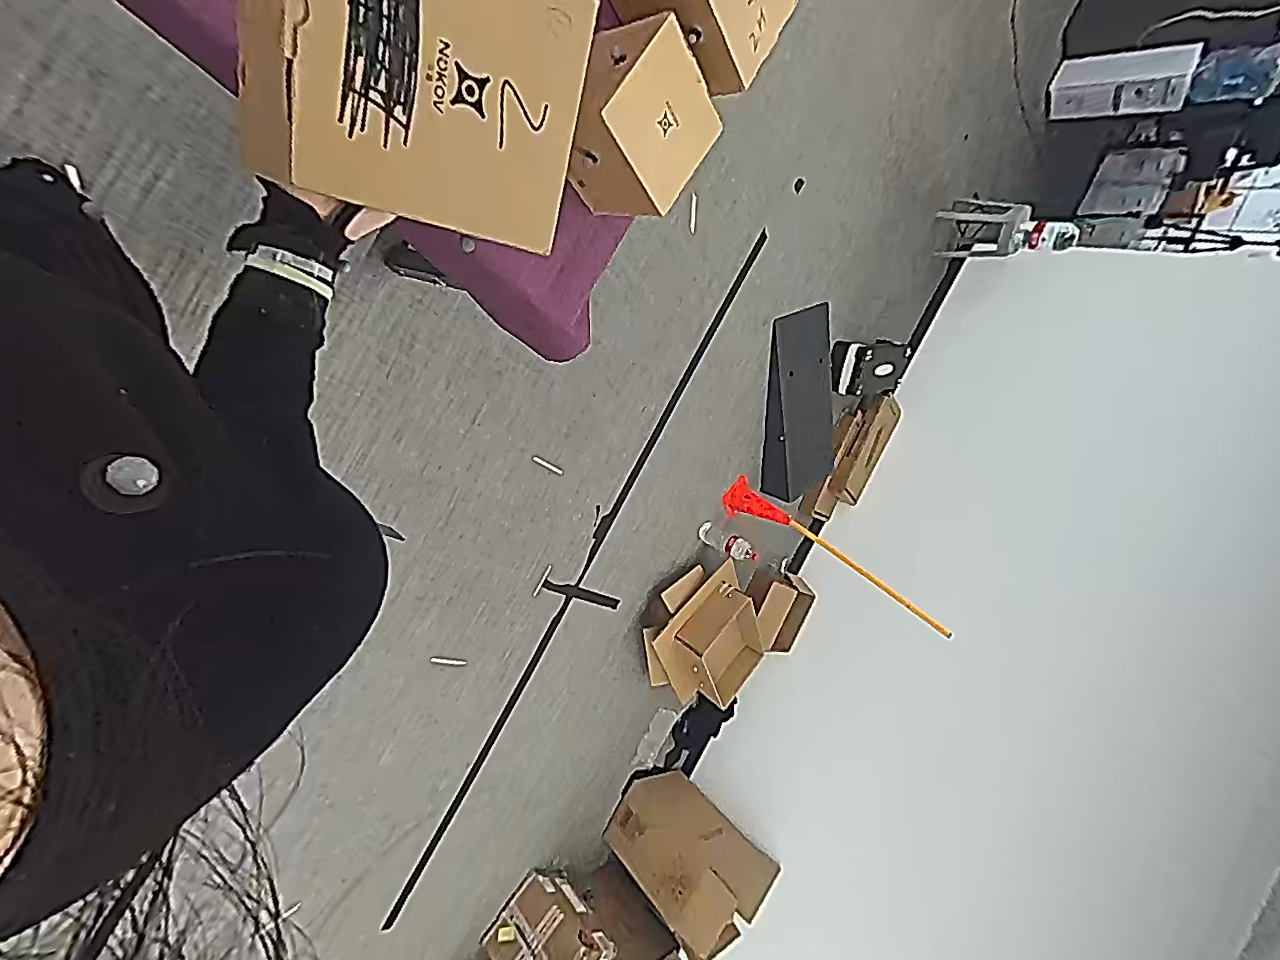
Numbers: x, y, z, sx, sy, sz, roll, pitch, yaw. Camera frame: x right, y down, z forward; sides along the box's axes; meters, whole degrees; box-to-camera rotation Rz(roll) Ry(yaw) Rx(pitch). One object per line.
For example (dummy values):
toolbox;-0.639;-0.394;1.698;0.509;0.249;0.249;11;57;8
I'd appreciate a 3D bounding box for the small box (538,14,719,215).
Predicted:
small box;-0.023;-0.515;0.790;0.179;0.176;0.168;-59;139;-7

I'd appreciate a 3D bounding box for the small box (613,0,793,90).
small box;0.090;-0.708;0.796;0.179;0.176;0.168;34;85;-51
